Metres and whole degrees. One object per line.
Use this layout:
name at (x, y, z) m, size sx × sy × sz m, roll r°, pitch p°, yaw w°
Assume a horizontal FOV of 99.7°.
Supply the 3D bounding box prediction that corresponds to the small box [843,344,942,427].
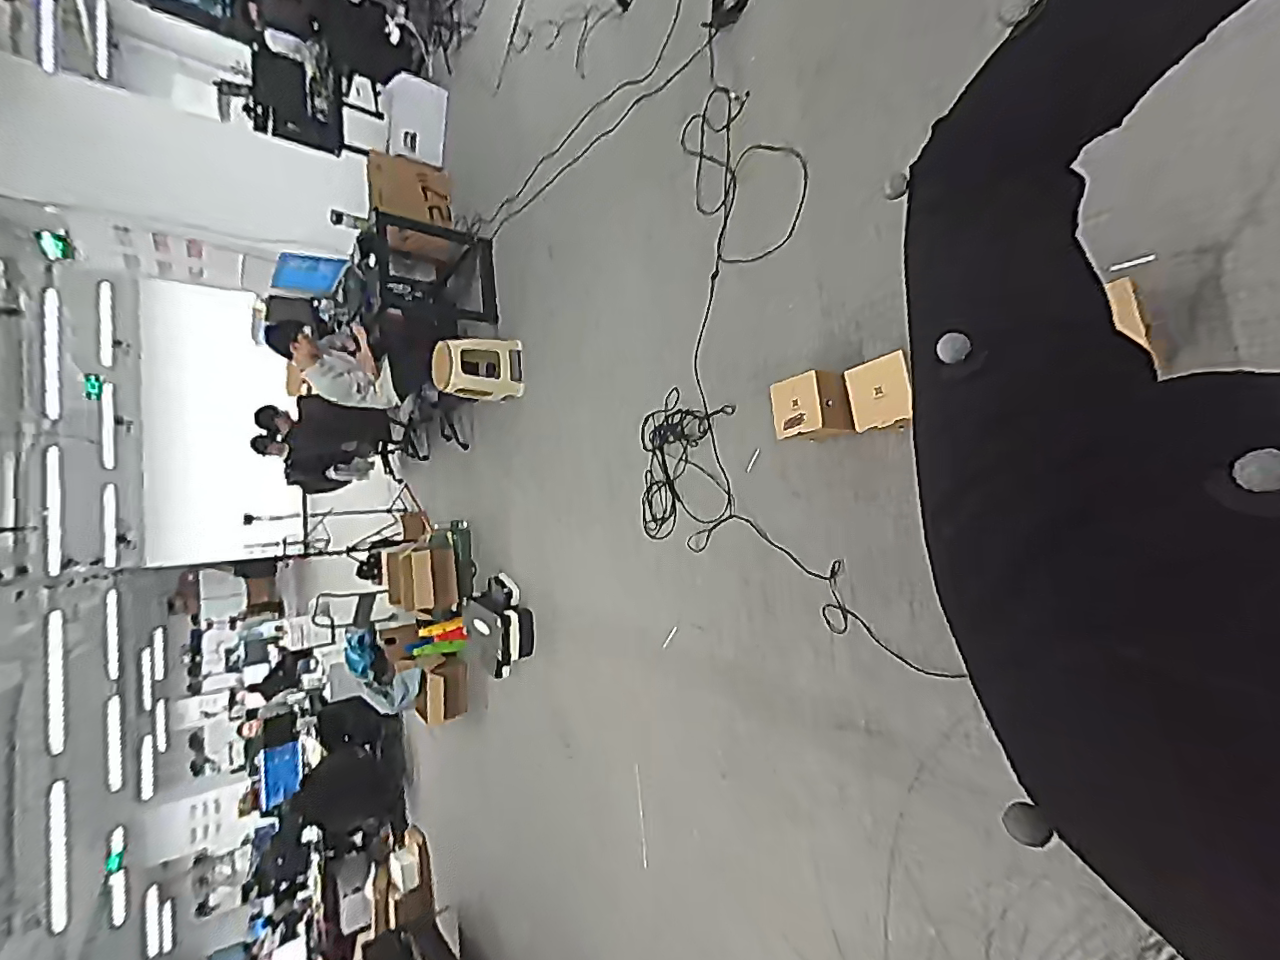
small box at (0.679, -0.245, 1.454) m, size 0.168 × 0.176 × 0.179 m, roll -18°, pitch 79°, yaw 51°

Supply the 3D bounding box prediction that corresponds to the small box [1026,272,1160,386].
small box at (0.942, -0.301, 1.123) m, size 0.168 × 0.176 × 0.179 m, roll -17°, pitch 80°, yaw 49°

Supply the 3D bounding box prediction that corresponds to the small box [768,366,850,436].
small box at (0.519, -0.236, 1.653) m, size 0.168 × 0.176 × 0.179 m, roll -14°, pitch 81°, yaw 51°
